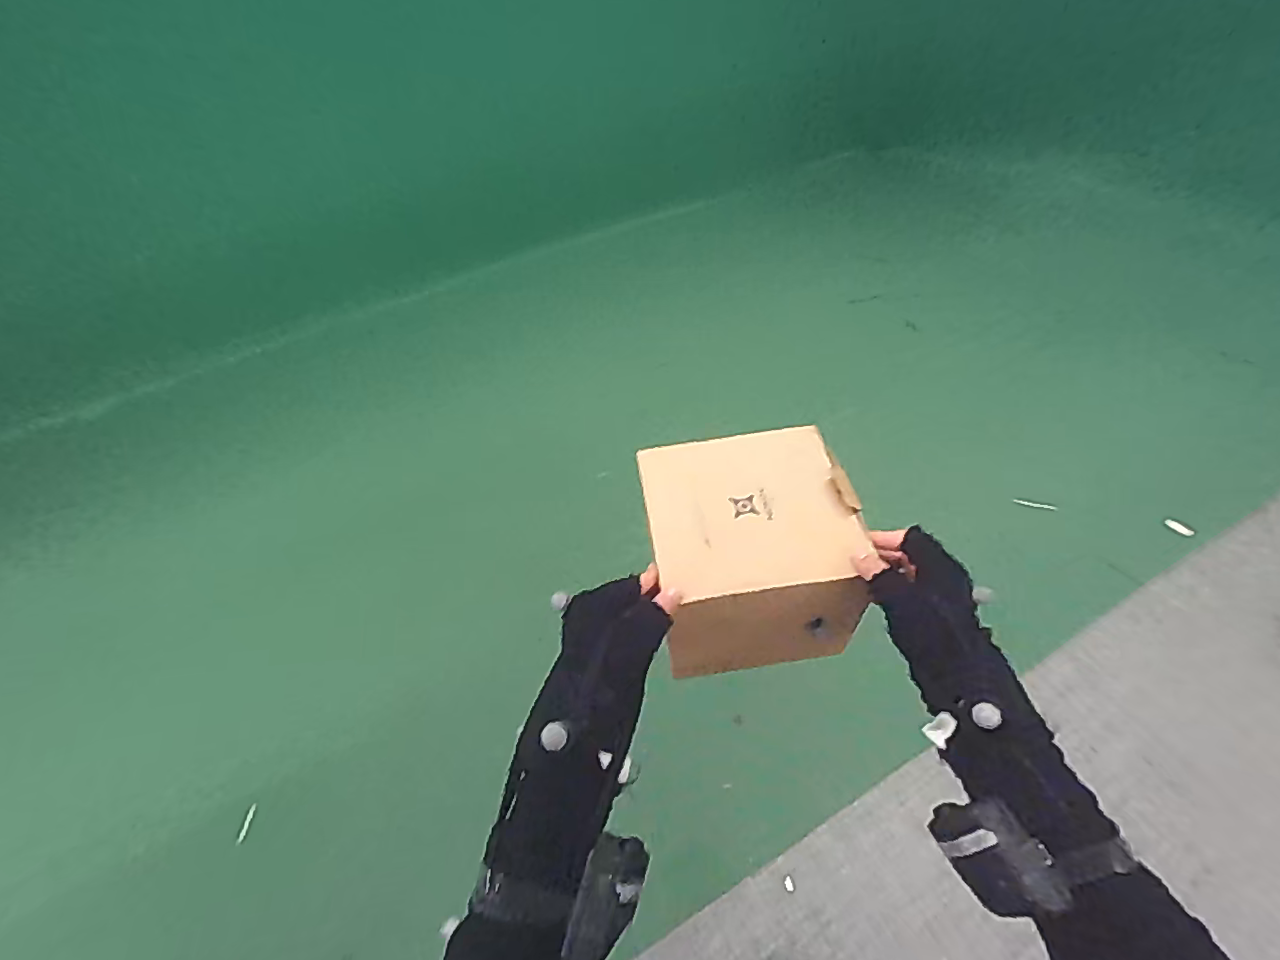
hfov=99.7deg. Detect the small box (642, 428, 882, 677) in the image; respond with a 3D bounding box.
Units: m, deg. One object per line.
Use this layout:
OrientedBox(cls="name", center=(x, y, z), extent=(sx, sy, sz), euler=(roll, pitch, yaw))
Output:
OrientedBox(cls="small box", center=(0.104, 0.076, 0.532), extent=(0.179, 0.176, 0.168), euler=(-10, 49, 0))
